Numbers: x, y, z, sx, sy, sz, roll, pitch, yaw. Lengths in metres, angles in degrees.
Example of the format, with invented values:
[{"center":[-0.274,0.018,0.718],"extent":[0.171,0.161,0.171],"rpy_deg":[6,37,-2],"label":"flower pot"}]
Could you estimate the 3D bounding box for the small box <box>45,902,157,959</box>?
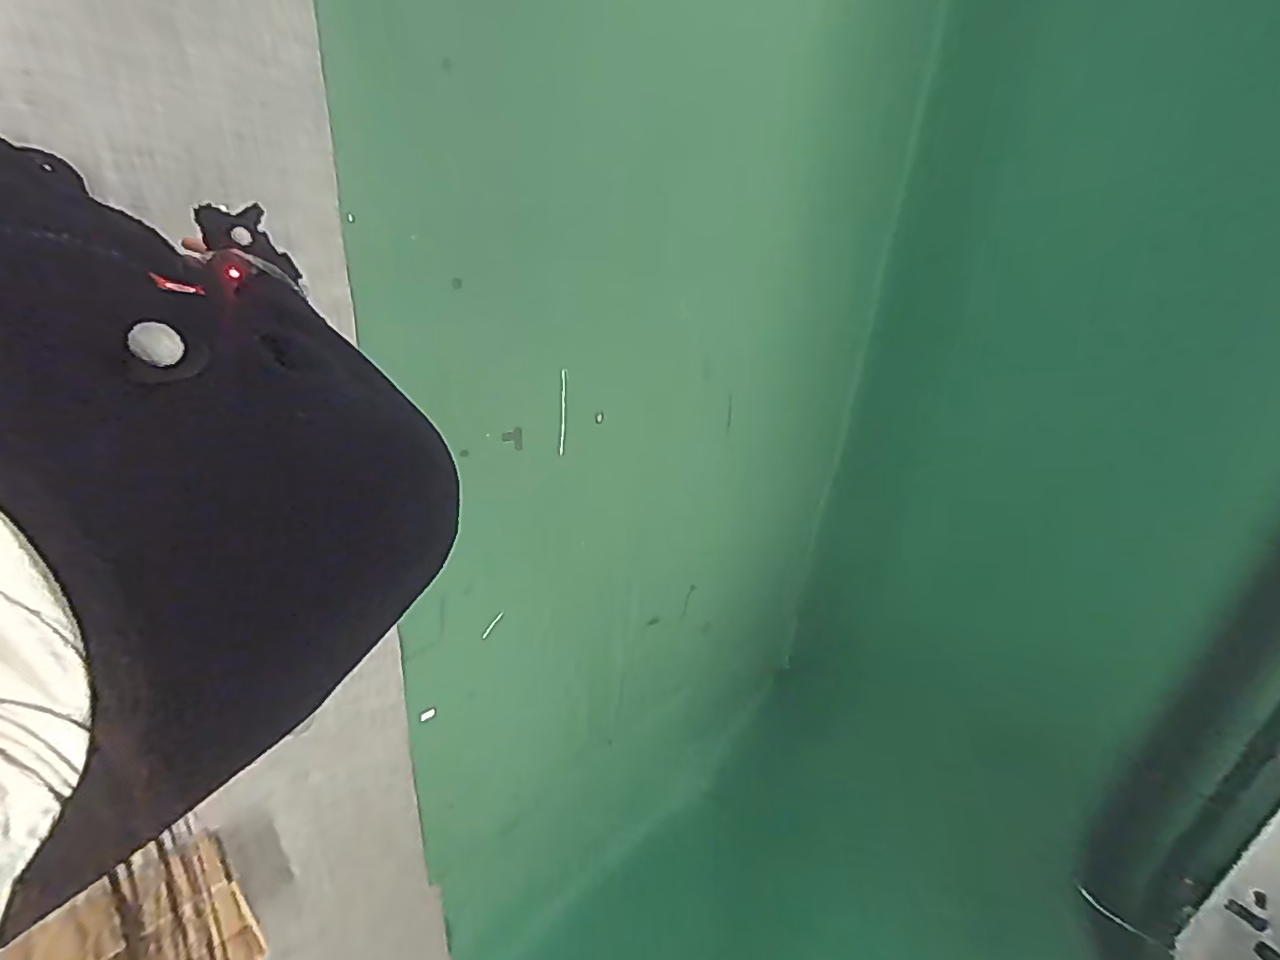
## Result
[{"center":[-1.314,1.202,1.320],"extent":[0.179,0.176,0.168],"rpy_deg":[-22,126,-42],"label":"small box"}]
